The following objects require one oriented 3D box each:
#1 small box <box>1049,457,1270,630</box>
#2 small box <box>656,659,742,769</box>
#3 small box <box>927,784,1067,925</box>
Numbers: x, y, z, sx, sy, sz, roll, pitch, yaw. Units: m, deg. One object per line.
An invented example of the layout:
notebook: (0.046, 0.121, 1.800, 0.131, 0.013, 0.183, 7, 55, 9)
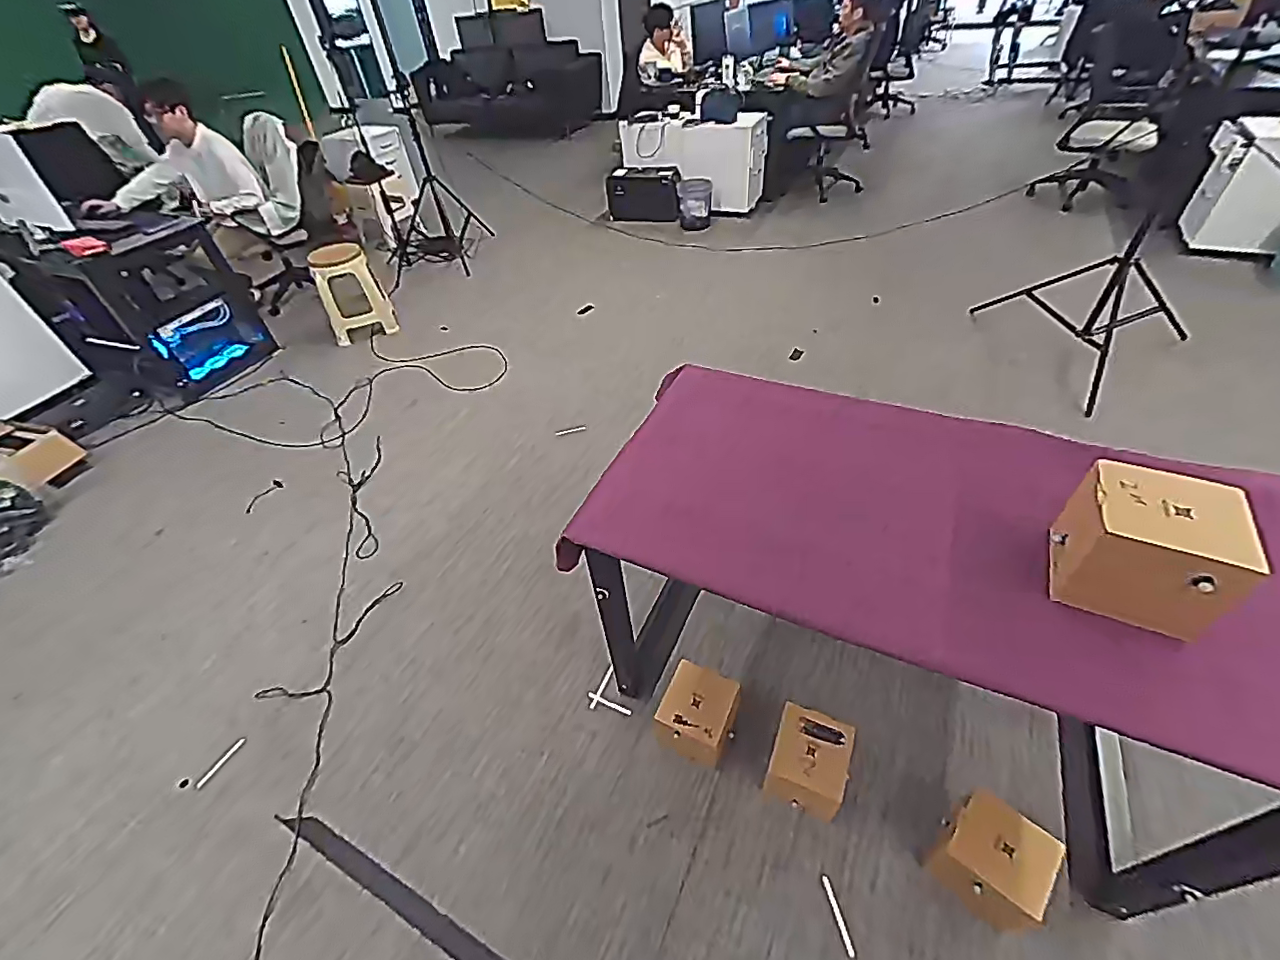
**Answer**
small box: (0.752, 0.097, 0.807, 0.179, 0.176, 0.168, 17, 48, 23)
small box: (0.153, 0.608, 1.405, 0.168, 0.176, 0.179, 17, 48, 23)
small box: (0.746, 0.795, 1.143, 0.179, 0.176, 0.168, 30, 56, 33)
